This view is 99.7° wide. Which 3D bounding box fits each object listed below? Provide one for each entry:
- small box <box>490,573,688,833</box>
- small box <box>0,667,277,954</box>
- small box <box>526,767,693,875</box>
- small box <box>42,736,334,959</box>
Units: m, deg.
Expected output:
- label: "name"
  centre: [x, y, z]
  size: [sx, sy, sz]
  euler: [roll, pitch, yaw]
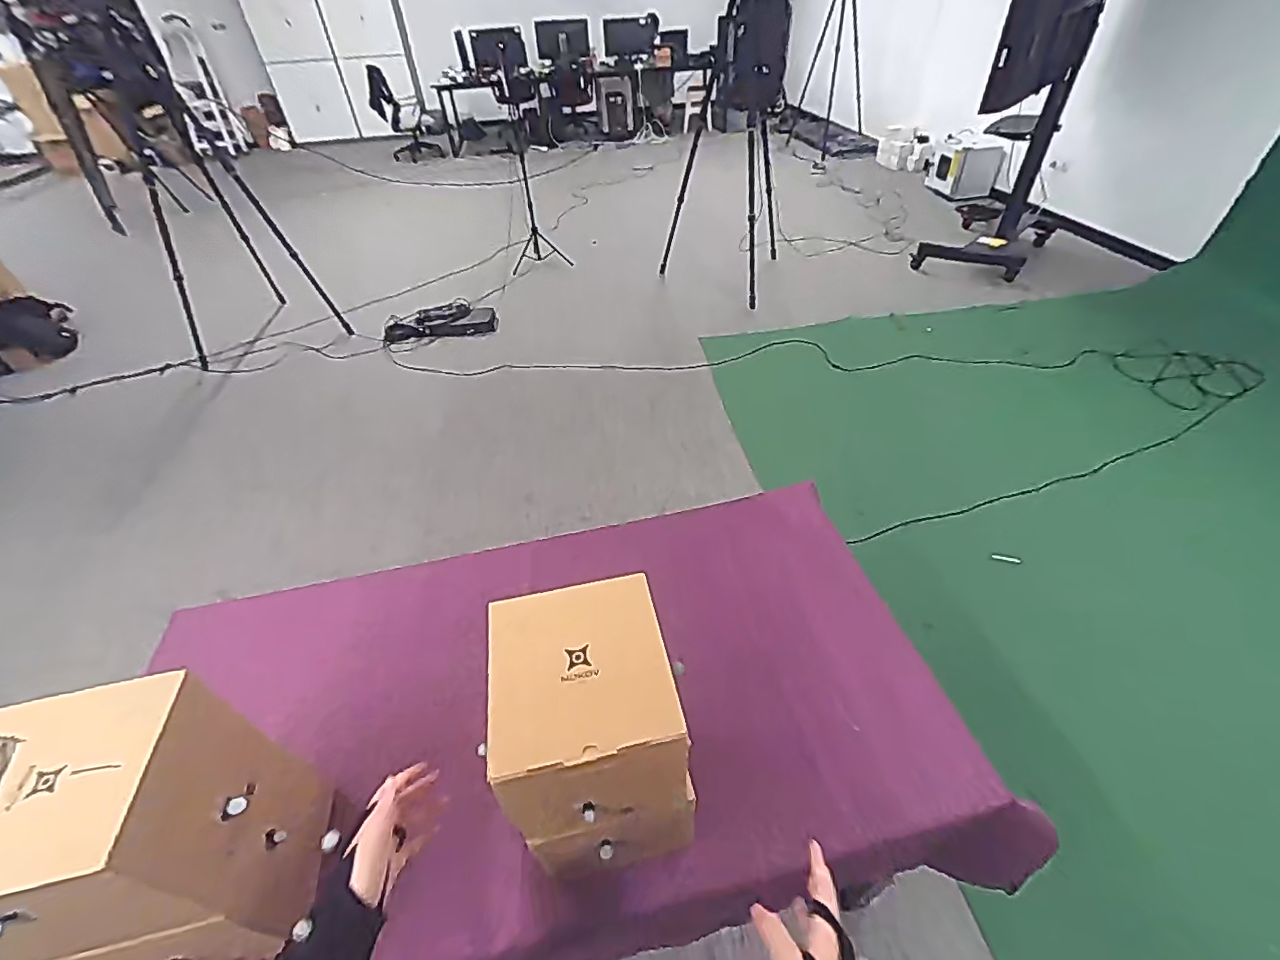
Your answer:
- label: "small box"
  centre: [-0.053, 0.226, 0.556]
  size: [0.168, 0.176, 0.179]
  euler: [-10, 43, -7]
- label: "small box"
  centre: [-0.487, 0.306, 0.502]
  size: [0.179, 0.176, 0.168]
  euler: [-10, 43, -8]
- label: "small box"
  centre: [-0.039, 0.351, 0.661]
  size: [0.179, 0.176, 0.168]
  euler: [-12, 44, -7]
- label: "small box"
  centre: [-0.478, 0.427, 0.614]
  size: [0.168, 0.176, 0.179]
  euler: [-10, 42, -7]
